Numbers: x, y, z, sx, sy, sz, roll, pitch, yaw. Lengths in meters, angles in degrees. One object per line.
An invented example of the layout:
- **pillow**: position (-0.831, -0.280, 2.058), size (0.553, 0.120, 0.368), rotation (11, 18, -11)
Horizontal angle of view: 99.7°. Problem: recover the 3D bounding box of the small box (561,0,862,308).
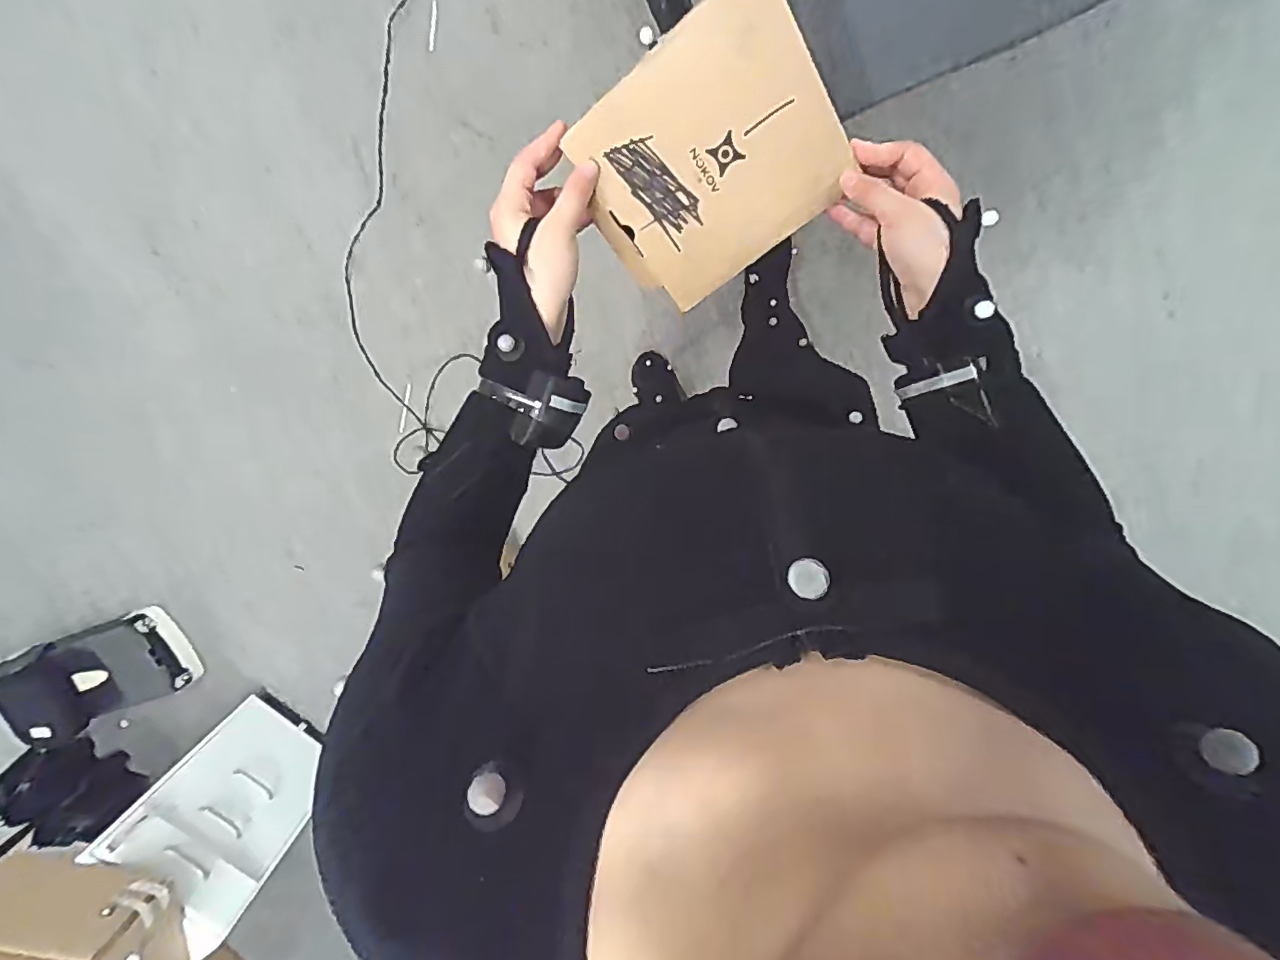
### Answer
- **small box**: position (0.055, -0.290, 0.474), size (0.179, 0.176, 0.168), rotation (-33, 121, 19)
